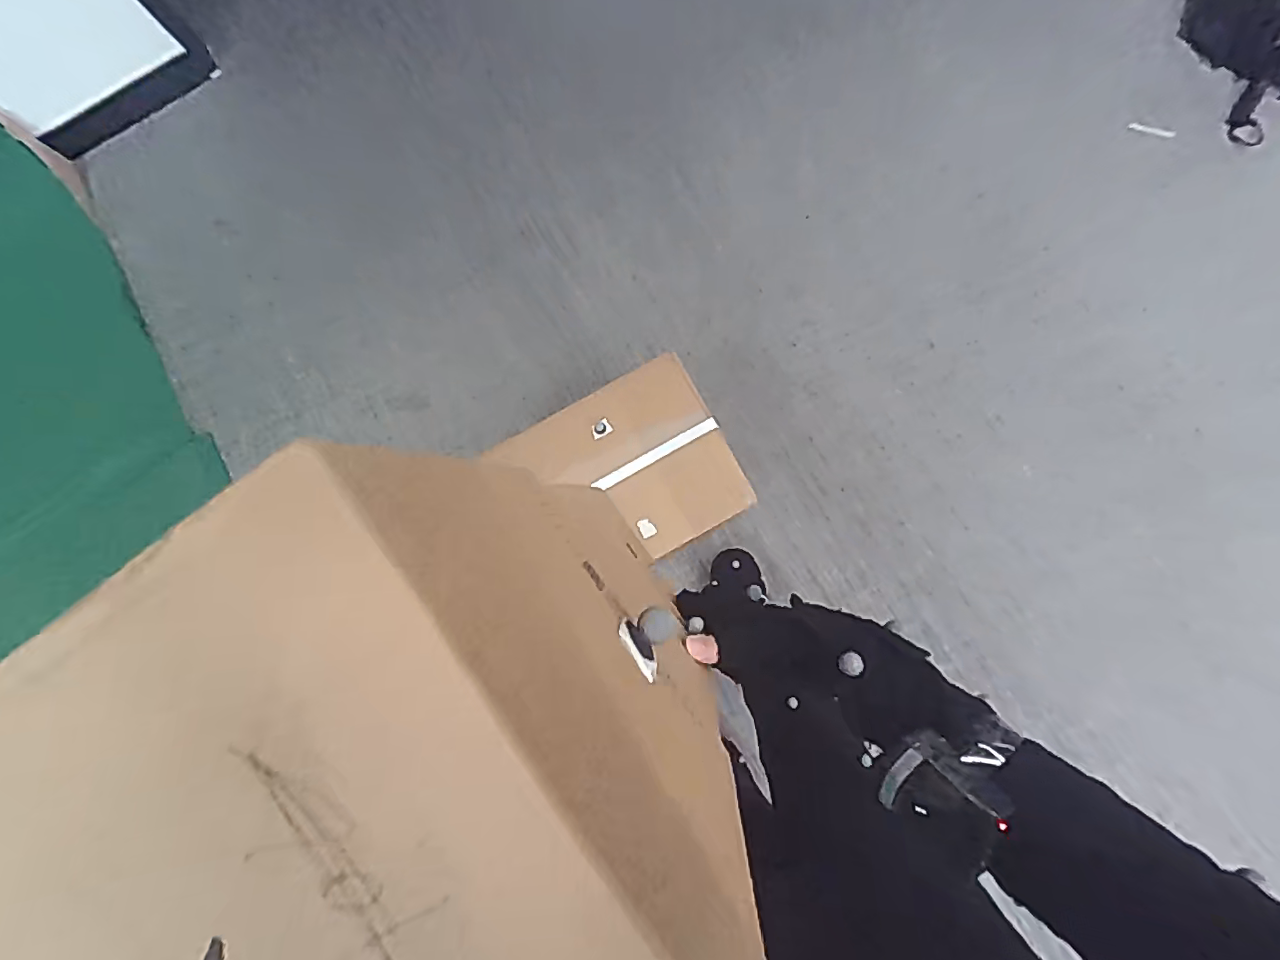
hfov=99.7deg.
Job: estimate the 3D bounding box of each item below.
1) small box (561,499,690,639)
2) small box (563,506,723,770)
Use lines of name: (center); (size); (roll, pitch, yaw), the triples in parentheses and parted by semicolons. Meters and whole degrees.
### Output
small box: (-0.061, 0.131, 0.523); (0.168, 0.176, 0.179); (-37, 87, 3)
small box: (-0.067, 0.127, 0.358); (0.179, 0.176, 0.168); (-36, 85, 4)
